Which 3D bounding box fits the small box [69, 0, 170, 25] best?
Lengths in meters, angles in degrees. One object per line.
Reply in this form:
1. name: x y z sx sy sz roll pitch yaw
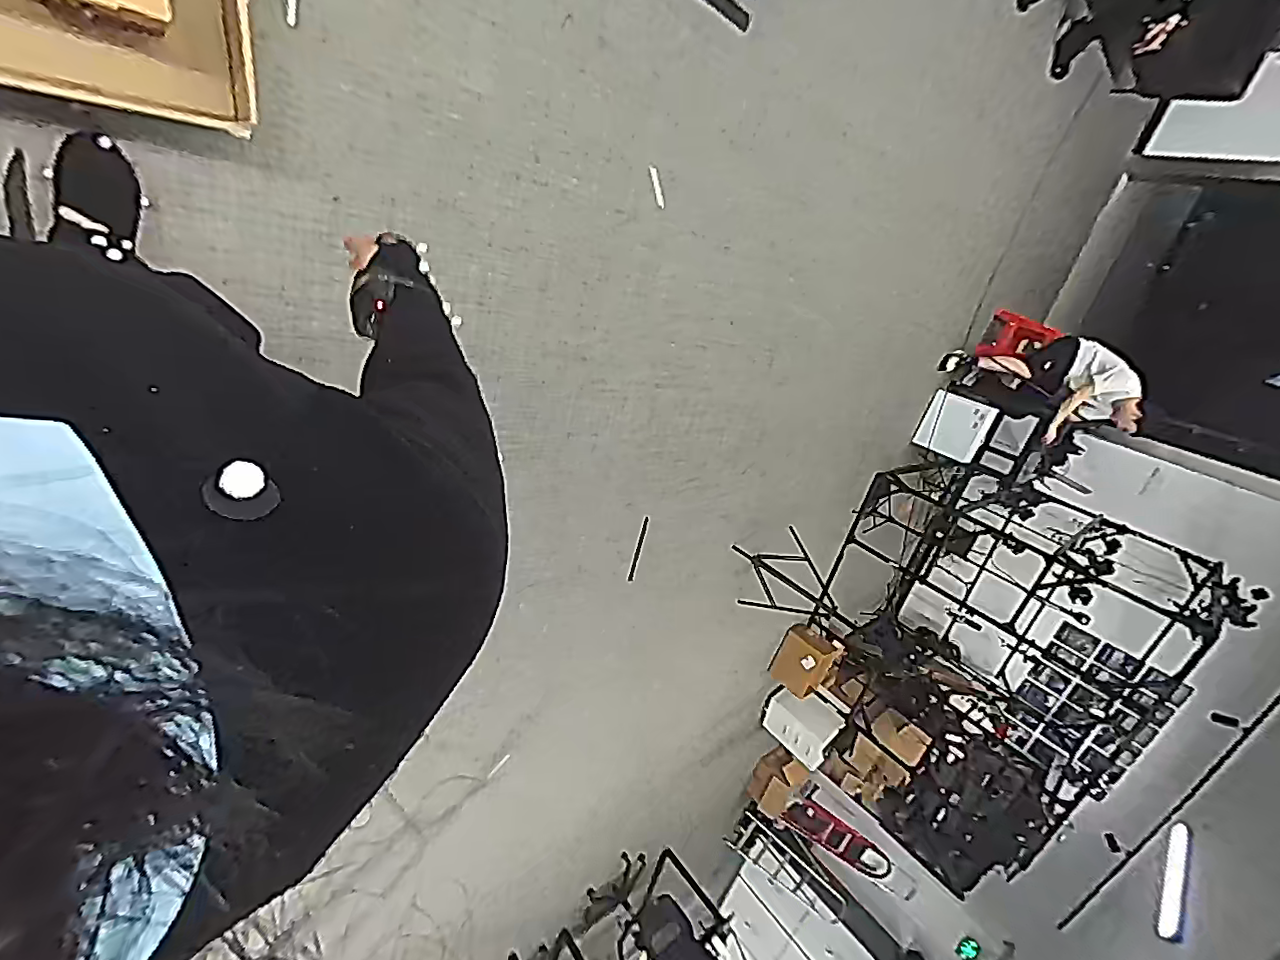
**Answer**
1. small box: -0.796 -0.789 0.768 0.168 0.176 0.179 -11 124 -40
